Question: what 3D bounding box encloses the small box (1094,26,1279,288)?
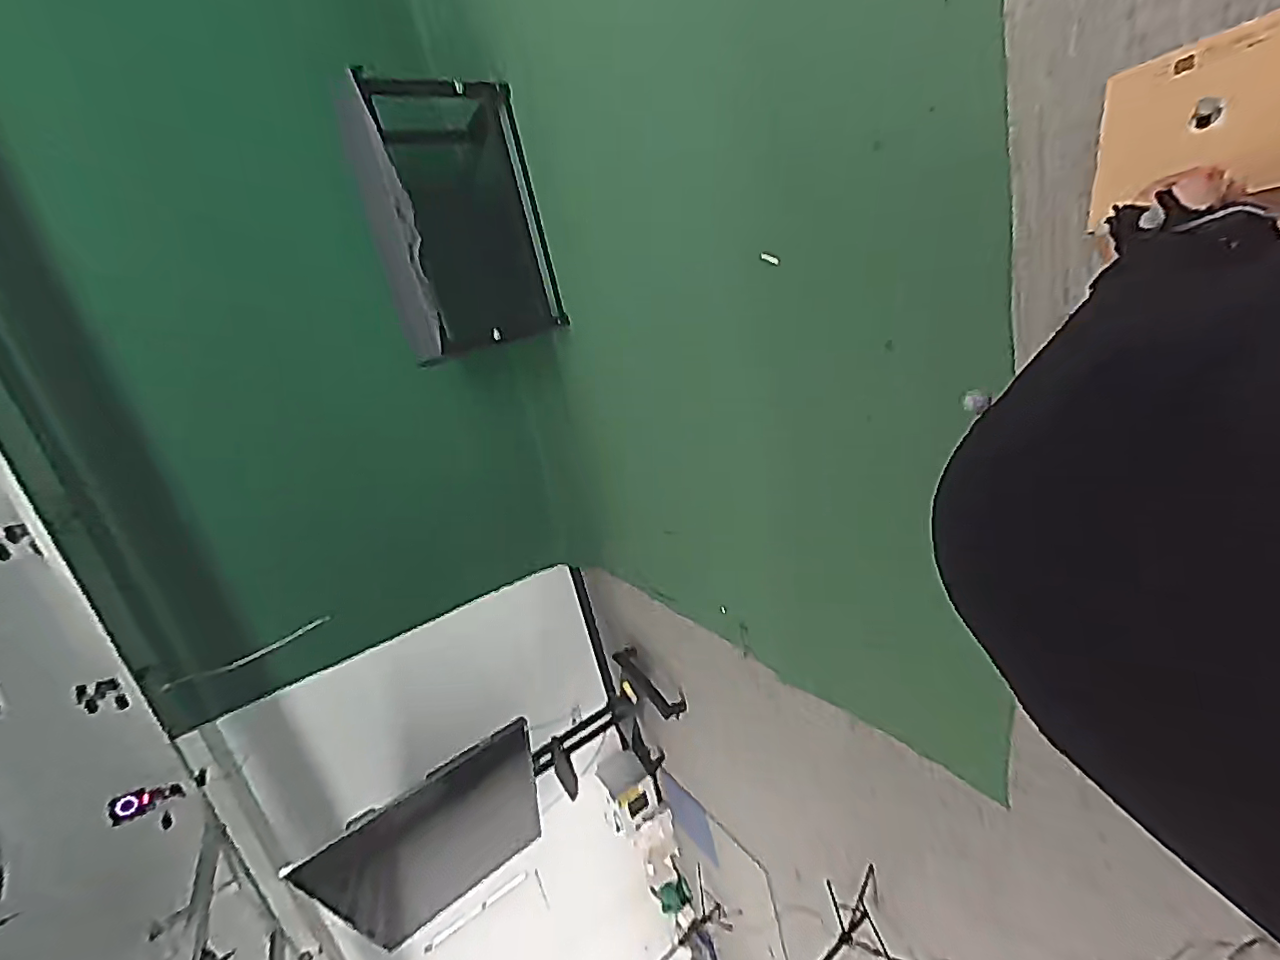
[{"bbox_3d":[0.603,-0.325,0.559,0.168,0.179,0.176,8,90,54],"label":"small box"}]
